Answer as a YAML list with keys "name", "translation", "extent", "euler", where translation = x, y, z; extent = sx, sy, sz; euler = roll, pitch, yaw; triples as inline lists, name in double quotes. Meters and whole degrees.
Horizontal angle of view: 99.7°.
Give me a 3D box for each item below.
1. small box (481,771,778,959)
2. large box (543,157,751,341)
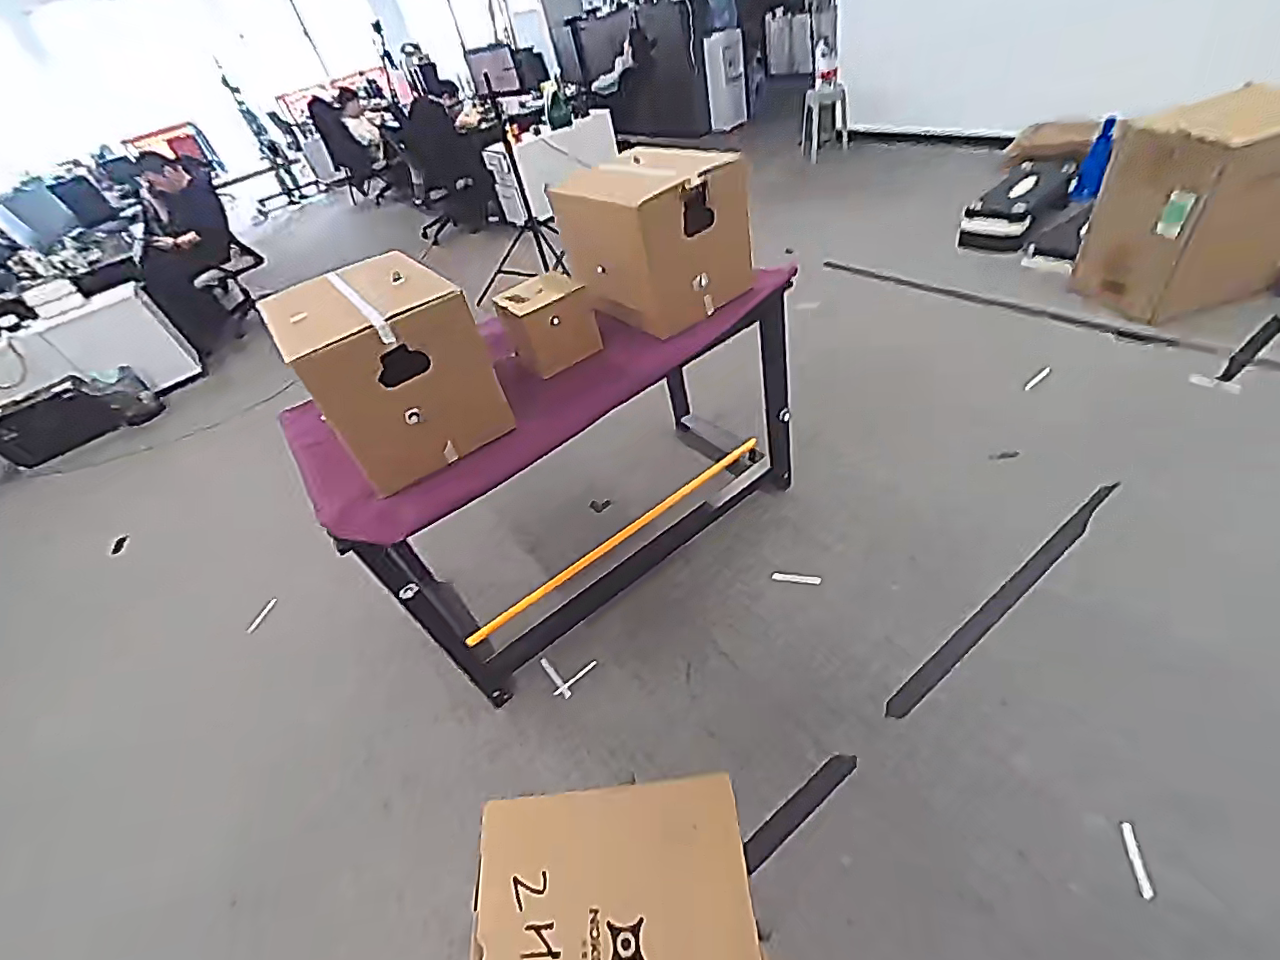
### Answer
- name: "small box"
  translation: [-0.001, 0.316, 0.384]
  extent: [0.179, 0.176, 0.168]
  euler: [-7, 52, 2]
- name: "large box"
  translation: [0.022, -0.596, 1.373]
  extent: [0.320, 0.320, 0.408]
  euler: [-34, 44, -20]
